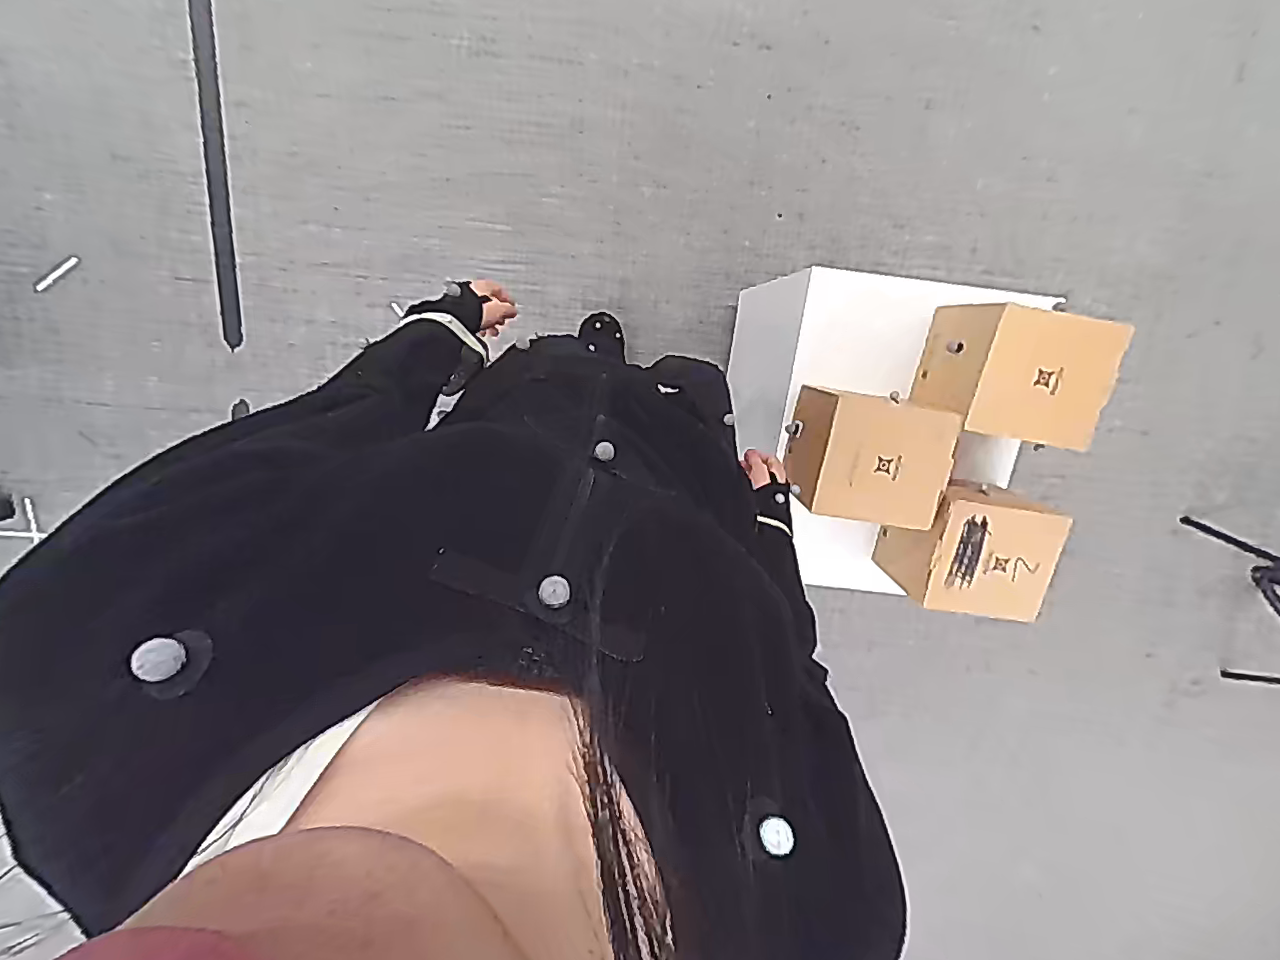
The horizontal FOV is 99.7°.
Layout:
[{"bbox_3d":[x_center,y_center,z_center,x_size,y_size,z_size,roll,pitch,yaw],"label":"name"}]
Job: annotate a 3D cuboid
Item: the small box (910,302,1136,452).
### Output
[{"bbox_3d":[0.521,-0.149,0.767,0.179,0.176,0.168,10,106,-4],"label":"small box"}]
